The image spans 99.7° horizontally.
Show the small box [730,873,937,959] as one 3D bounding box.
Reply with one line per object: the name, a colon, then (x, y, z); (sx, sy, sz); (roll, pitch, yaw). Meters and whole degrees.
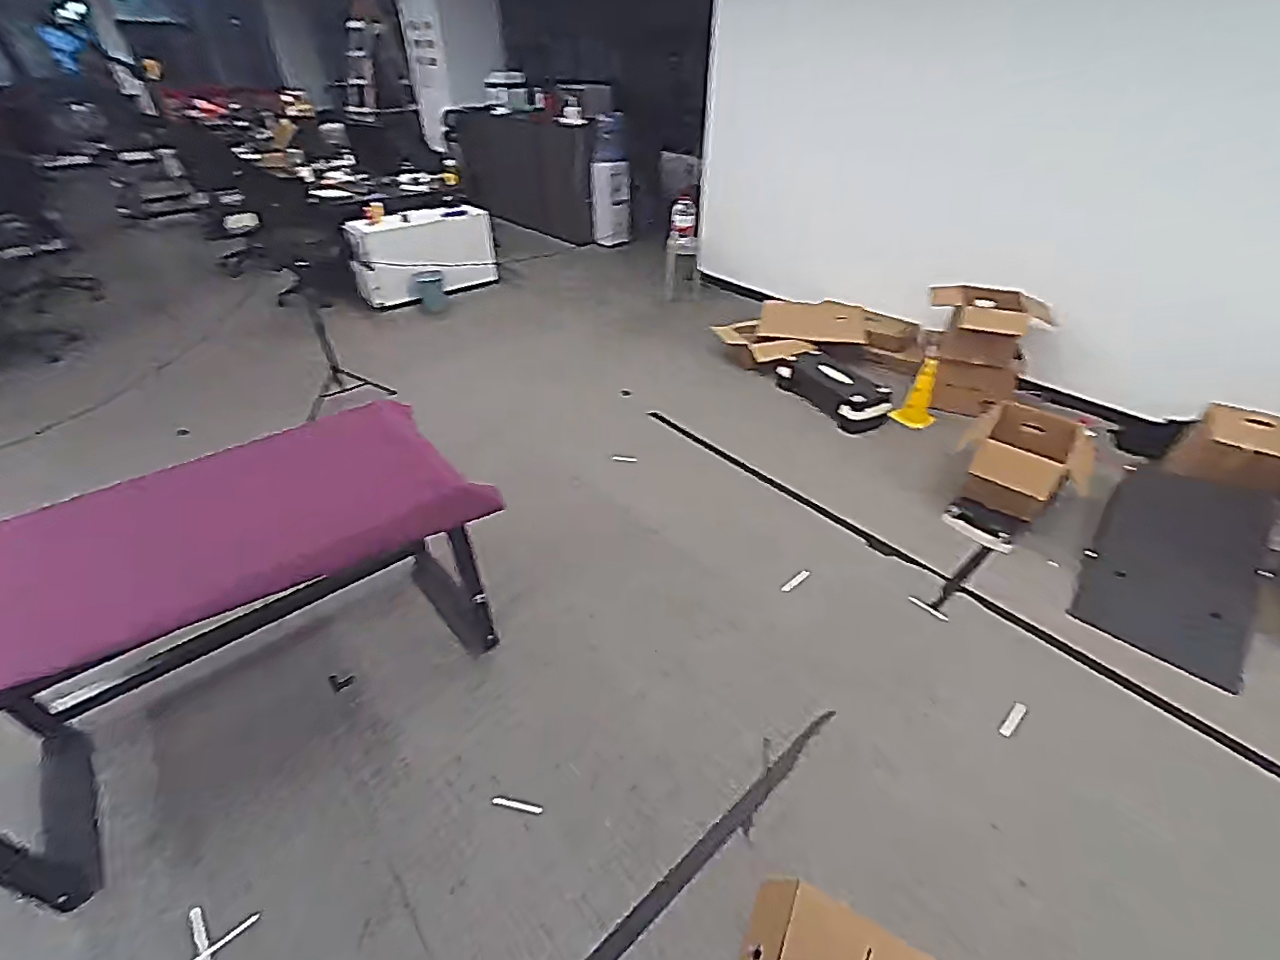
small box: (0.195, 0.568, 0.589); (0.168, 0.176, 0.179); (24, 57, 12)
